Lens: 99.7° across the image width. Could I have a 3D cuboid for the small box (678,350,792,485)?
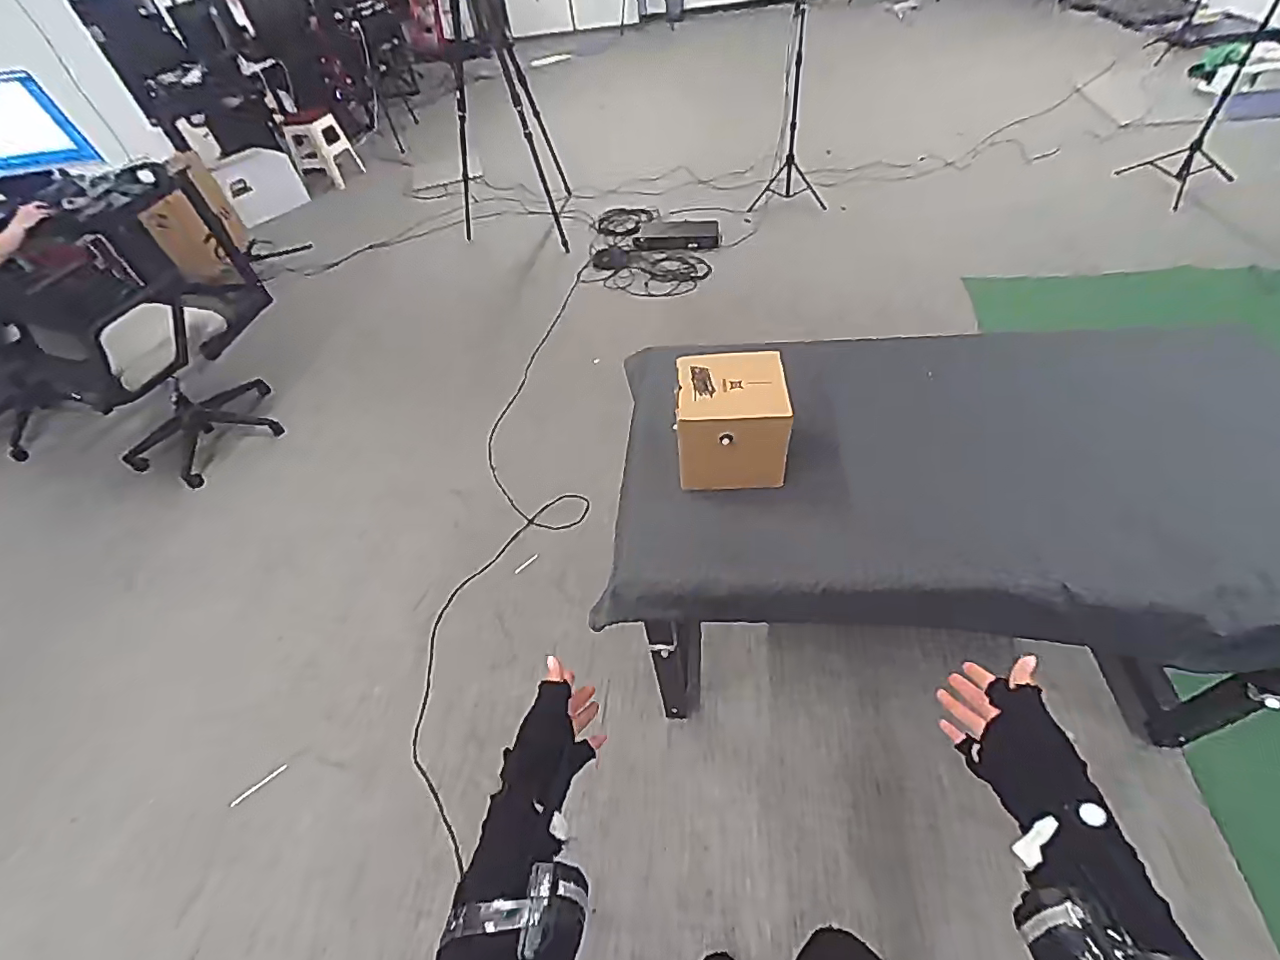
[{"bbox_3d":[0.159,-0.104,0.938,0.179,0.176,0.168,-2,49,6],"label":"small box"}]
